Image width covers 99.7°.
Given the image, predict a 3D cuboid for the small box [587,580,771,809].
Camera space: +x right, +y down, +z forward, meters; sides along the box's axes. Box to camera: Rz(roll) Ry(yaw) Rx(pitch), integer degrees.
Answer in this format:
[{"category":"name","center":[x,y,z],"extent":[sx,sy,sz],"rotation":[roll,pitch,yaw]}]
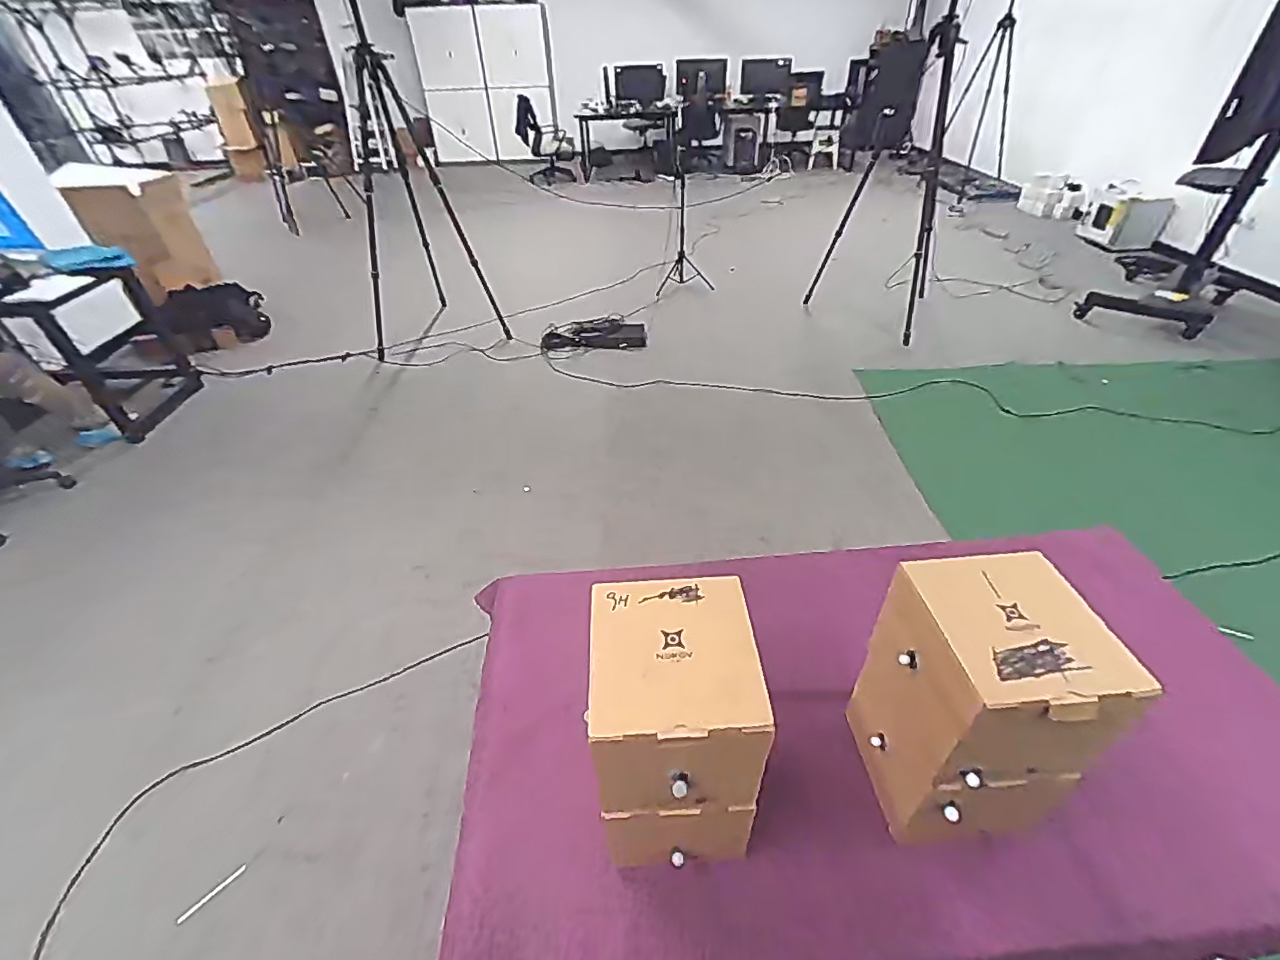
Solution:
[{"category":"small box","center":[0.035,0.233,0.582],"extent":[0.168,0.176,0.179],"rotation":[-3,39,-1]}]

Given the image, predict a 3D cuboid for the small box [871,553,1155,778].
[{"category":"small box","center":[0.381,0.206,0.596],"extent":[0.168,0.176,0.179],"rotation":[-4,37,-2]}]

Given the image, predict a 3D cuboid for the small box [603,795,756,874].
[{"category":"small box","center":[0.041,0.363,0.682],"extent":[0.168,0.176,0.179],"rotation":[-4,38,-1]}]
